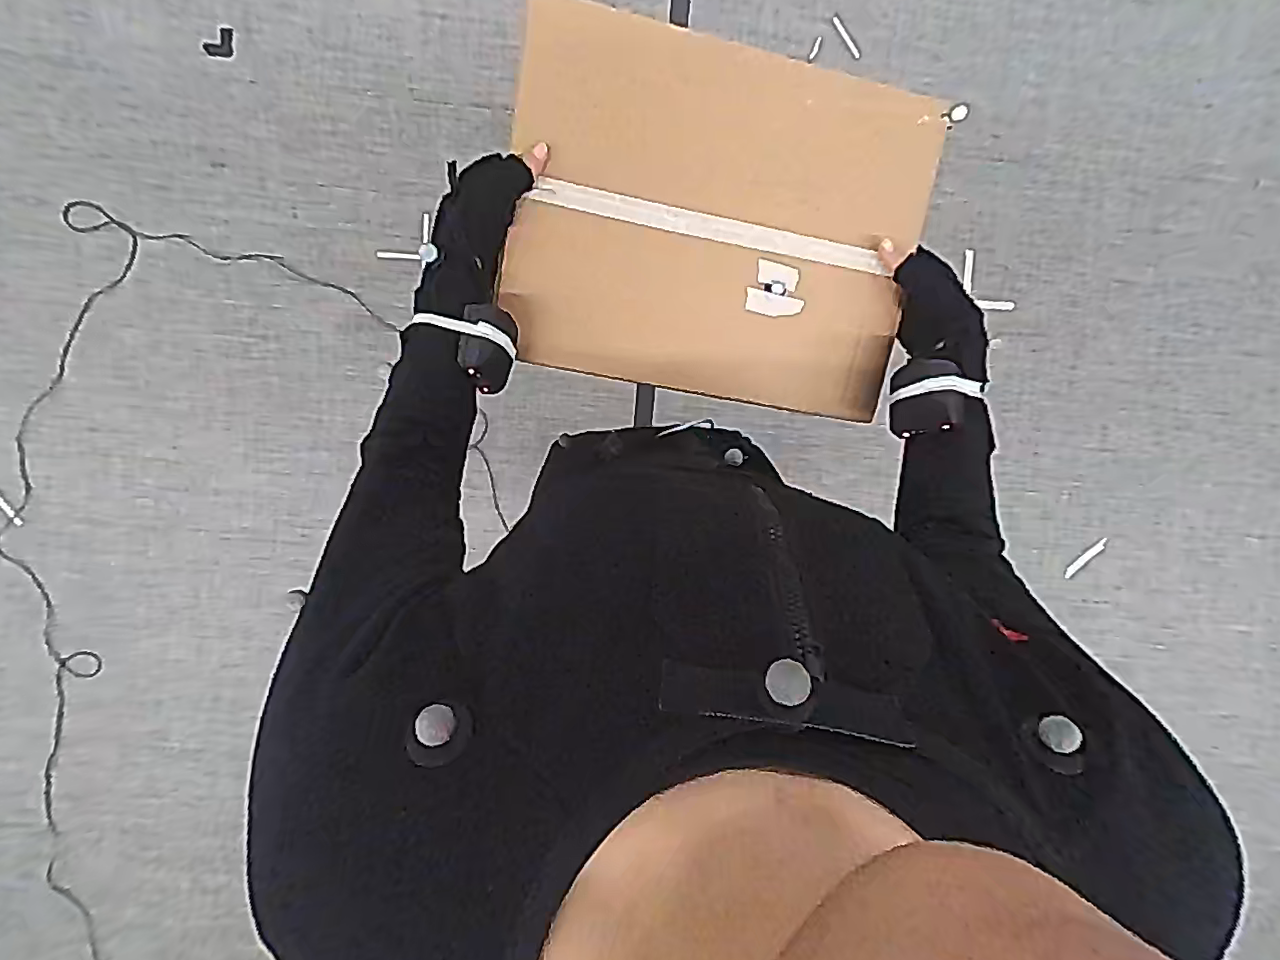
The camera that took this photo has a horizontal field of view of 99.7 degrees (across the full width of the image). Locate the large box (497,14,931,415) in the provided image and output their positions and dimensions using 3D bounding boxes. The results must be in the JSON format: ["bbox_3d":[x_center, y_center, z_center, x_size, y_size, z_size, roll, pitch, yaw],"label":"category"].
[{"bbox_3d":[0.054,-0.275,0.680,0.408,0.320,0.320,8,102,-9],"label":"large box"}]
